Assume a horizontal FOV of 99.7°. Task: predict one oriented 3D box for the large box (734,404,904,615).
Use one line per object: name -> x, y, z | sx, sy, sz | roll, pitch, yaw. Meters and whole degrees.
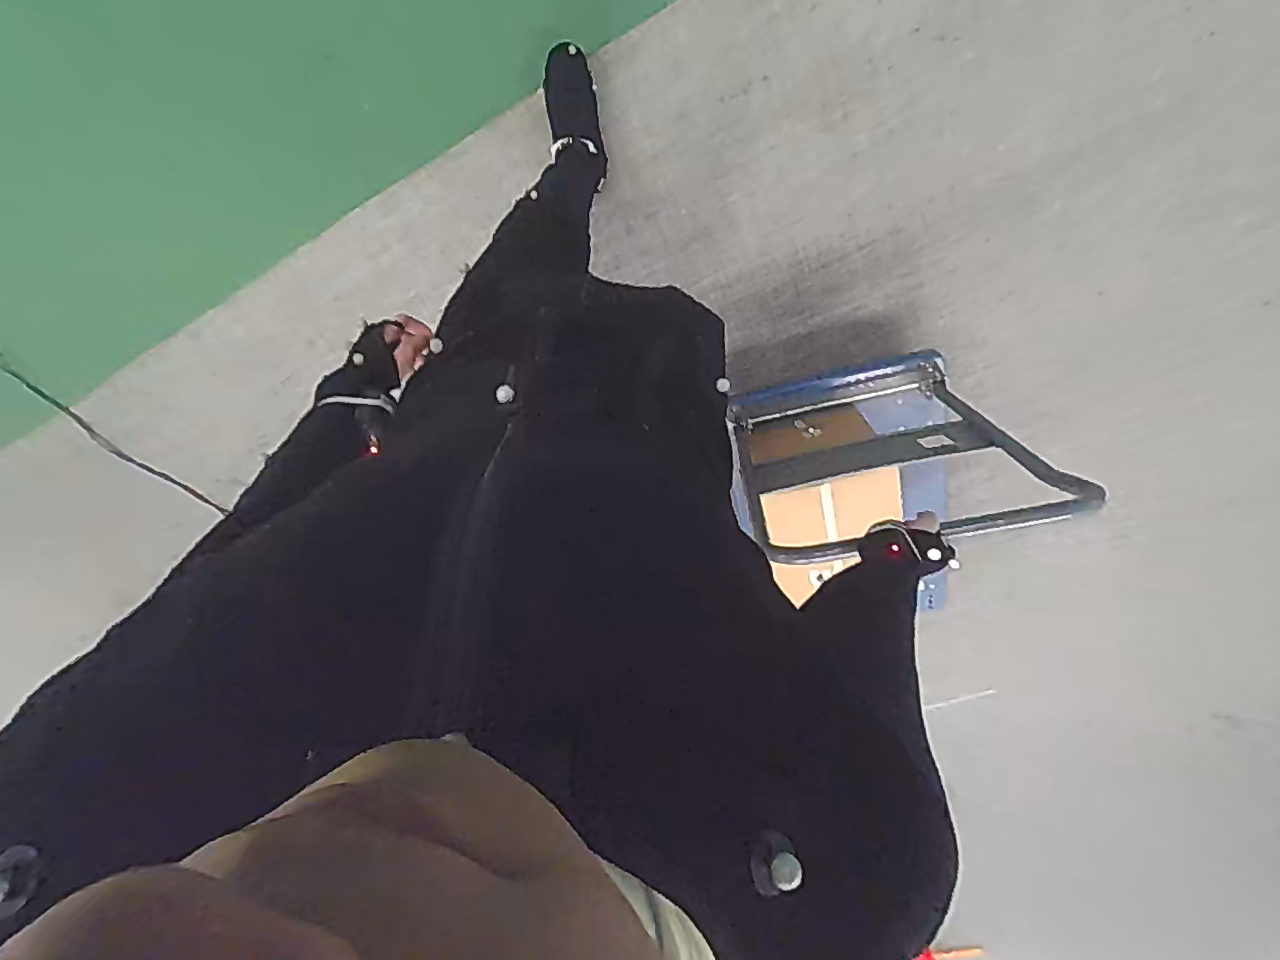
large box -> 0.450, 0.072, 1.391 | 0.320, 0.320, 0.408 | -13, 120, 11
